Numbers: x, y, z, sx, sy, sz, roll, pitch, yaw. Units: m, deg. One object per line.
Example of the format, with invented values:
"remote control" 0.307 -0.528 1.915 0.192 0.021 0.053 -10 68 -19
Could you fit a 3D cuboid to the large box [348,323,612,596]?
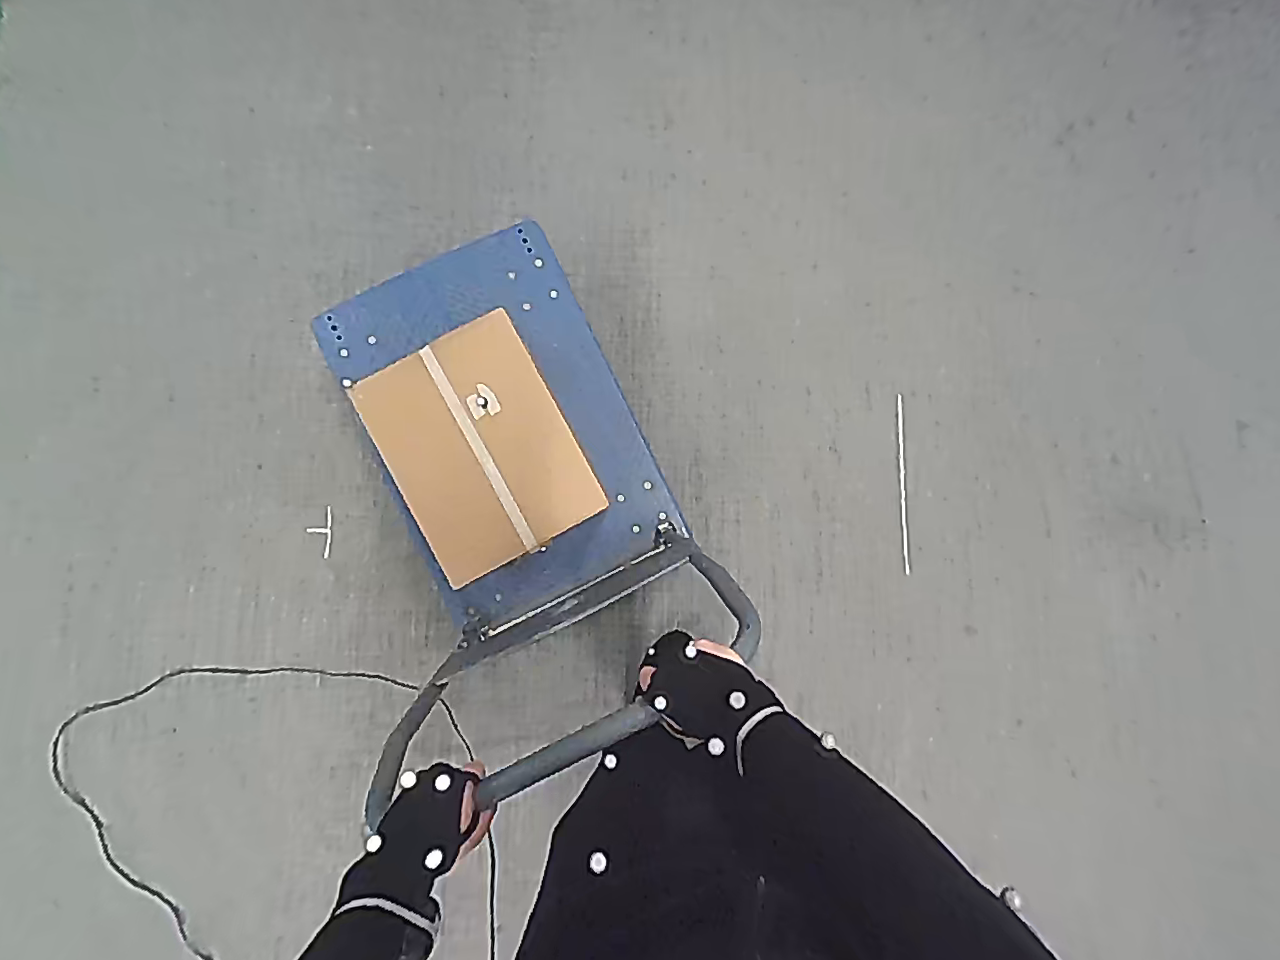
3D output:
"large box" -0.290 -0.034 1.106 0.320 0.320 0.408 -30 90 -3
